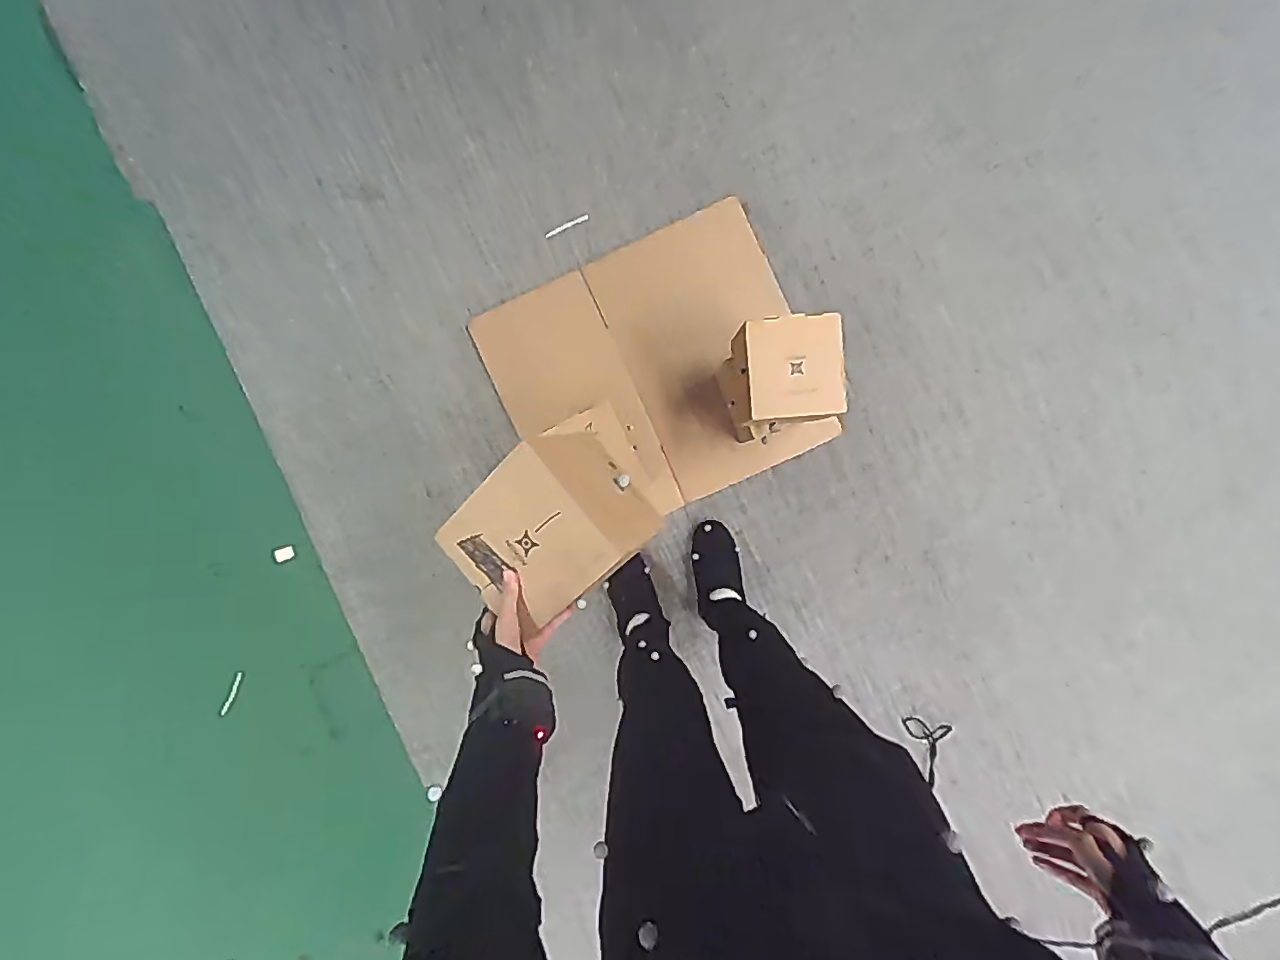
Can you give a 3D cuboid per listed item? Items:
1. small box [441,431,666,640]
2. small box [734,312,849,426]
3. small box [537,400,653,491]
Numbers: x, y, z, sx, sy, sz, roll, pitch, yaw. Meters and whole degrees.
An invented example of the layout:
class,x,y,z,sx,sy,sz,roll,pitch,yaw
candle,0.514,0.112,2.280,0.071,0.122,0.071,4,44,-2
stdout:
class,x,y,z,sx,sy,sz,roll,pitch,yaw
small box,-0.095,0.057,0.661,0.179,0.176,0.168,-42,83,19
small box,0.272,-0.197,1.002,0.168,0.176,0.179,-4,91,1
small box,-0.082,-0.033,1.020,0.168,0.176,0.179,-26,90,2
